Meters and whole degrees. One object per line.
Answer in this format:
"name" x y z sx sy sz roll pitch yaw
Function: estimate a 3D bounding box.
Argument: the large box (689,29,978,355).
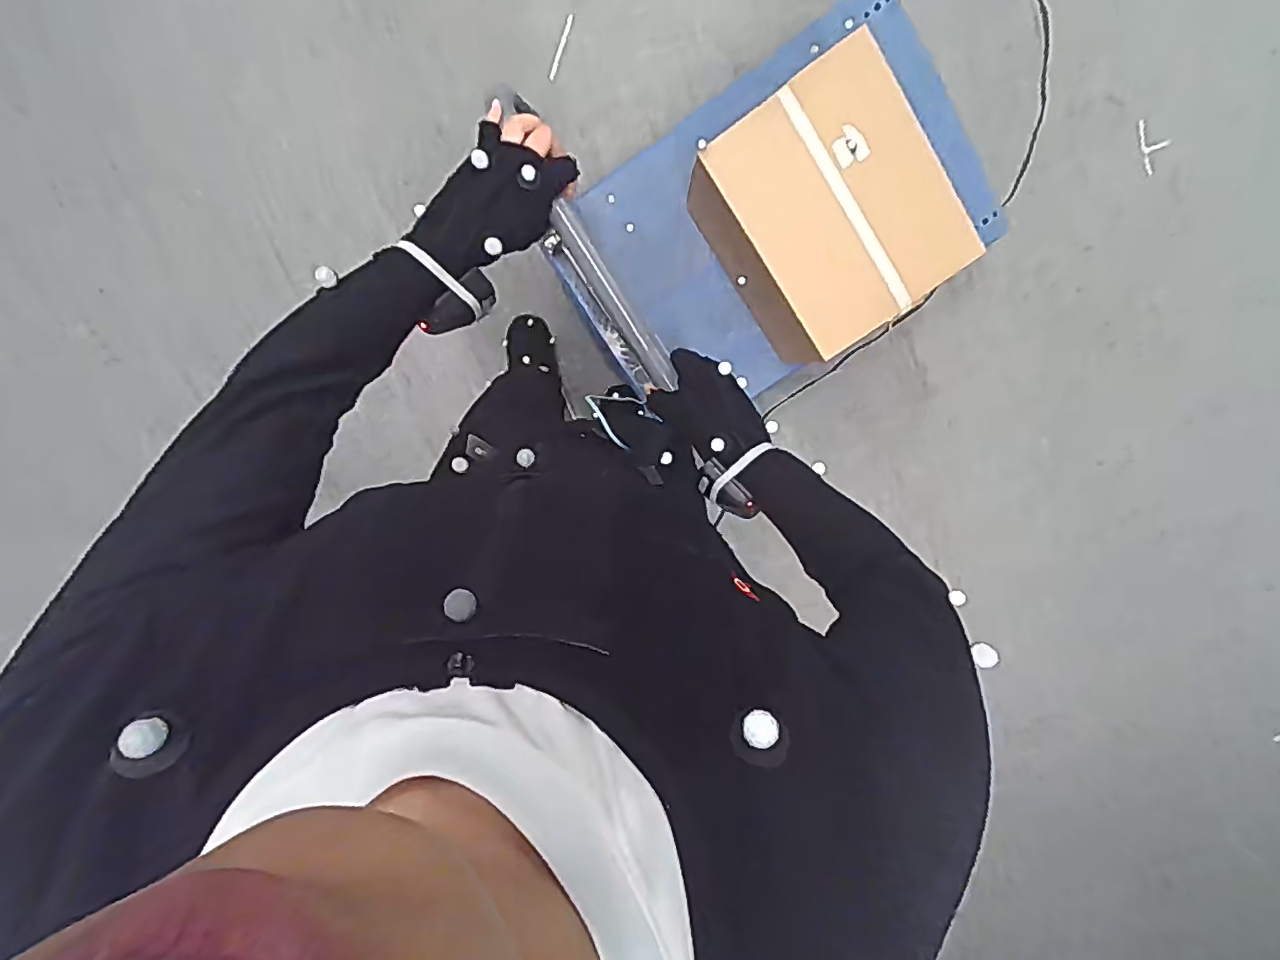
"large box" 0.333 -0.491 1.034 0.320 0.320 0.408 -34 99 8
